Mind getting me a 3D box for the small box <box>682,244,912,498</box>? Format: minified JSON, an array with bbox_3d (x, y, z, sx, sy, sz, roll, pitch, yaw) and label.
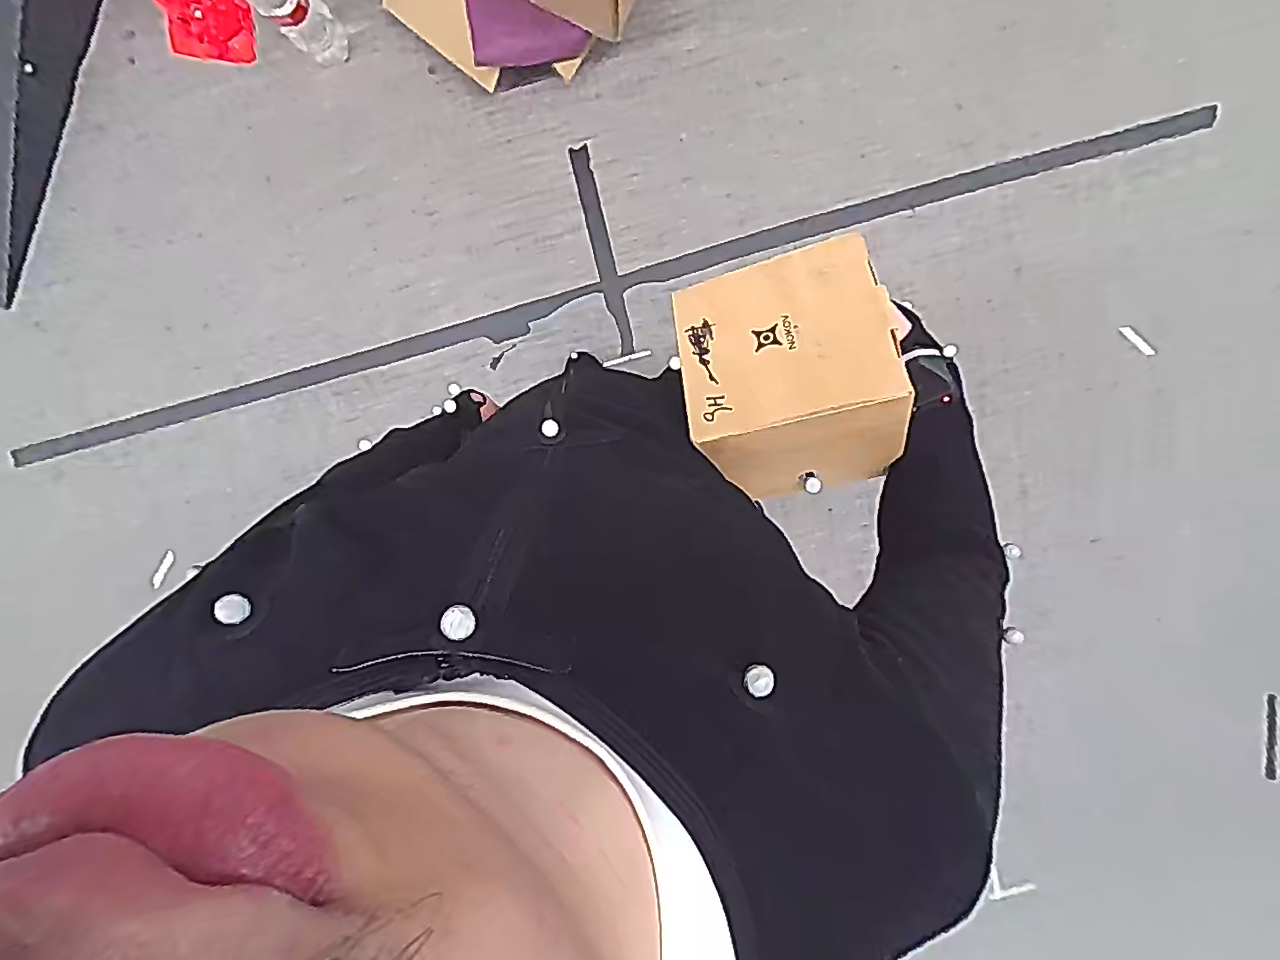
[{"bbox_3d":[0.153,-0.095,0.547,0.179,0.176,0.168,-12,65,16],"label":"small box"}]
